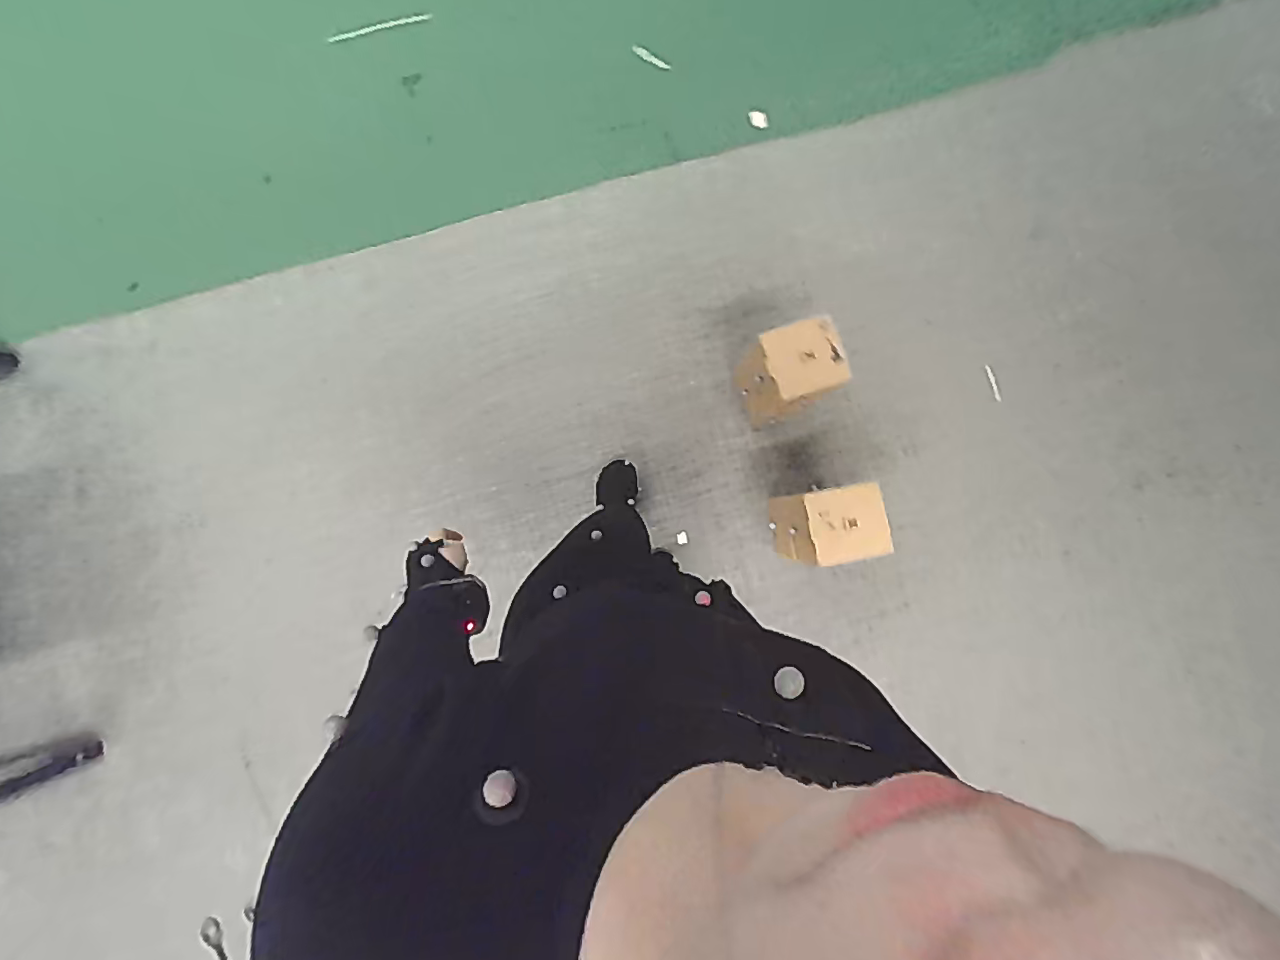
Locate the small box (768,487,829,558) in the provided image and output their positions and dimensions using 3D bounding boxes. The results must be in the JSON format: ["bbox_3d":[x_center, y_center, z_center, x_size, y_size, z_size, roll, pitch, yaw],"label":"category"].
[{"bbox_3d":[0.458,0.110,1.442,0.179,0.176,0.168,-9,86,0],"label":"small box"}]

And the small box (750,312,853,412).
[{"bbox_3d":[0.377,-0.276,1.304,0.179,0.176,0.168,-18,86,-2],"label":"small box"}]

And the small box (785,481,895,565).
[{"bbox_3d":[0.465,0.100,1.278,0.179,0.176,0.168,-11,86,-1],"label":"small box"}]
